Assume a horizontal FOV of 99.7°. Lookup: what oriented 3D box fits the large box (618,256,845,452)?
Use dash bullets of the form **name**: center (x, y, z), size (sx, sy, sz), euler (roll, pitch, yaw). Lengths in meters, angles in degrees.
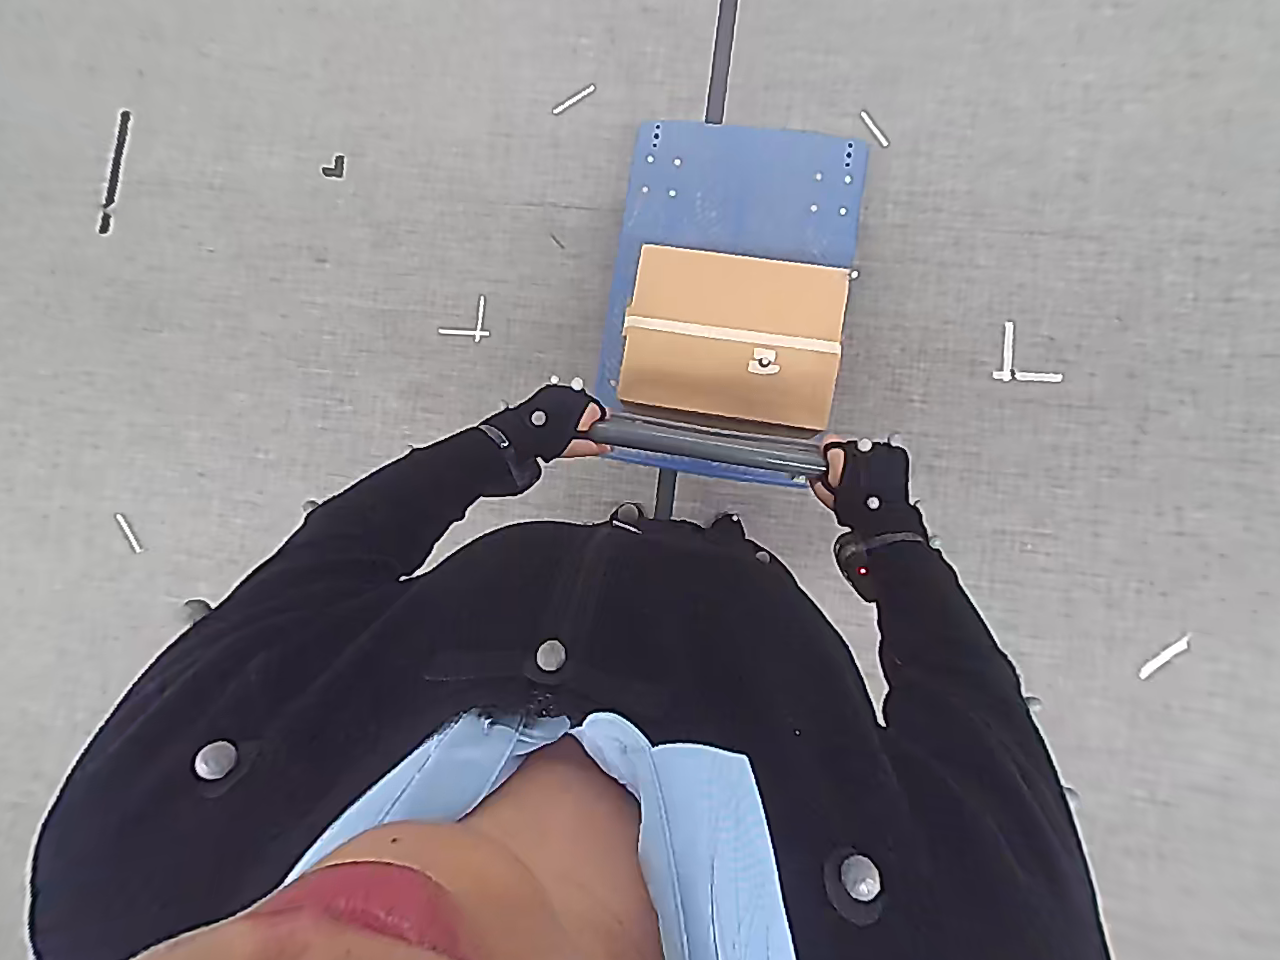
- **large box**: center (0.181, -0.253, 1.184), size (0.408, 0.320, 0.320), euler (9, 89, 4)
